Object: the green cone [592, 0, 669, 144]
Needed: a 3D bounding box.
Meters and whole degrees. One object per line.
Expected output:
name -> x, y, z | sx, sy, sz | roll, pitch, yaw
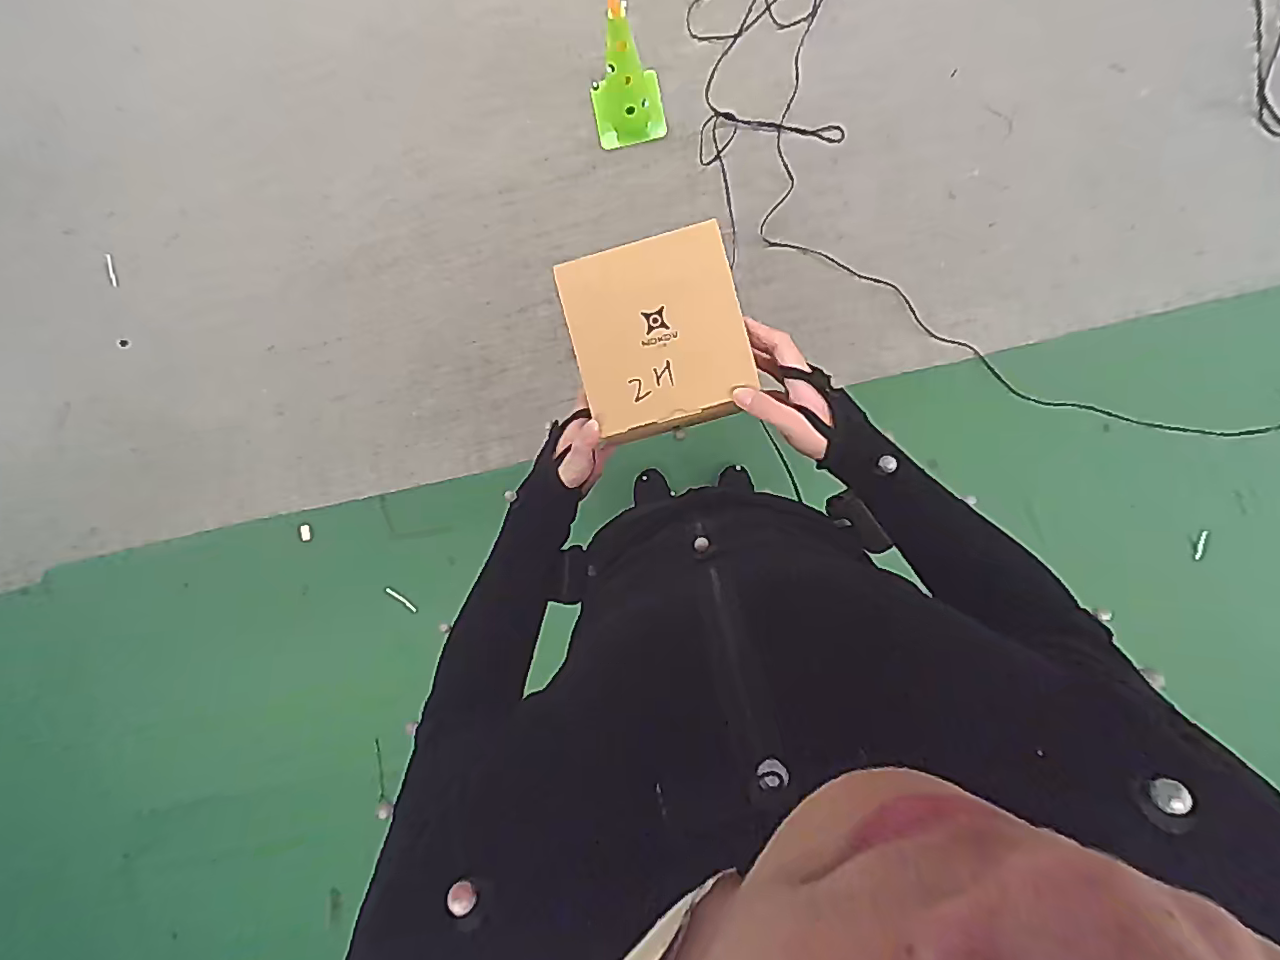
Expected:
green cone -> -0.035, -1.083, 1.402 | 0.202, 0.368, 0.200 | -11, 92, 2
